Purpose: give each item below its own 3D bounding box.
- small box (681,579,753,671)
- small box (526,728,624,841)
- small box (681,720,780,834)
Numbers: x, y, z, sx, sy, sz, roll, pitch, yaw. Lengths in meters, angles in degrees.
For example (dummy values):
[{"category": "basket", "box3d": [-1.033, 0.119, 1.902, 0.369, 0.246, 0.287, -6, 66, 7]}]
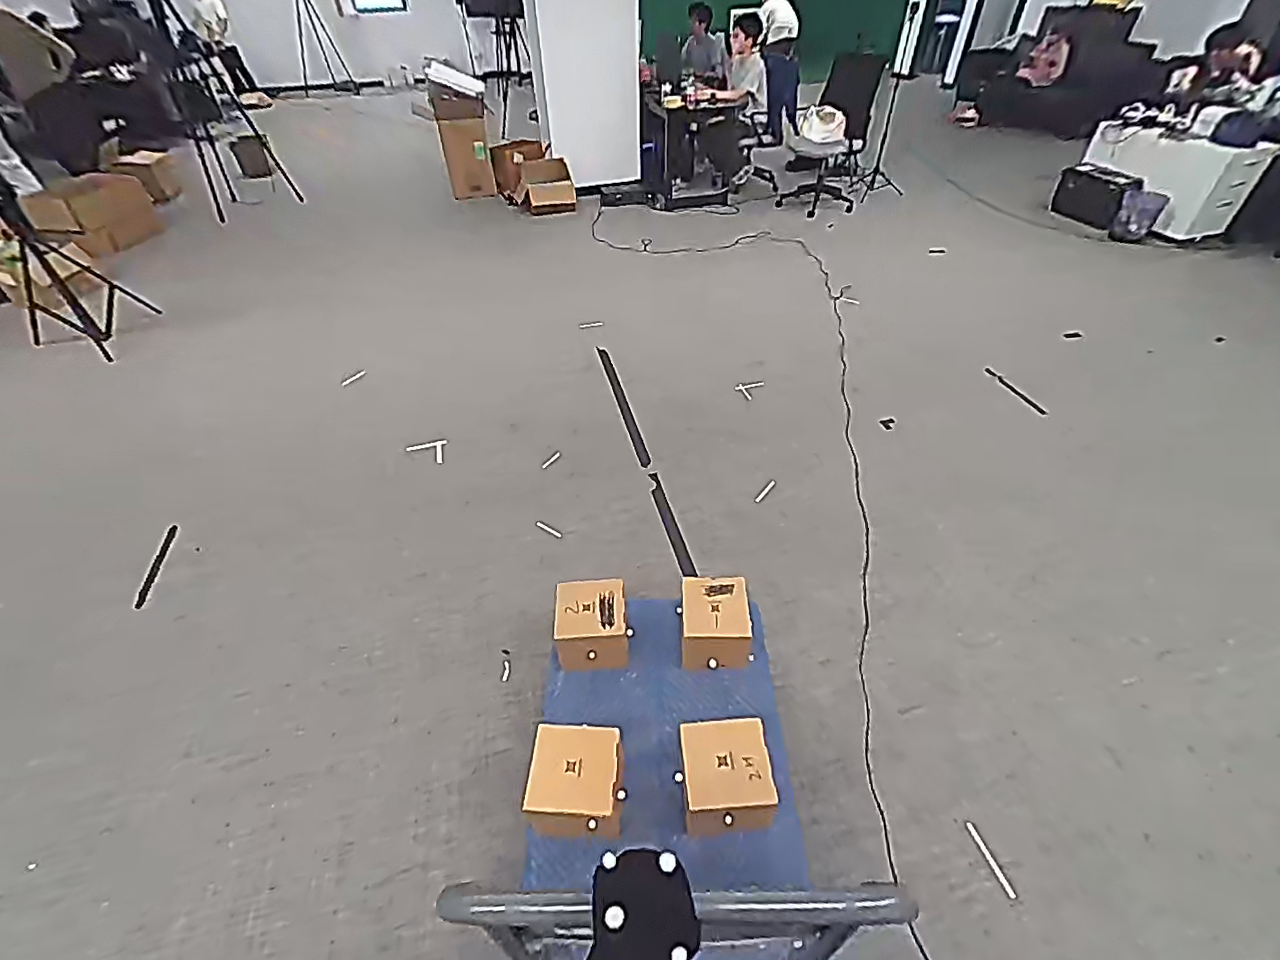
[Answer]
[{"category": "small box", "box3d": [0.193, 0.377, 1.409, 0.168, 0.176, 0.179, -1, 45, 2]}, {"category": "small box", "box3d": [-0.128, 0.644, 1.143, 0.179, 0.176, 0.168, 2, 43, 2]}, {"category": "small box", "box3d": [0.182, 0.630, 1.142, 0.179, 0.176, 0.168, -4, 43, -1]}]
